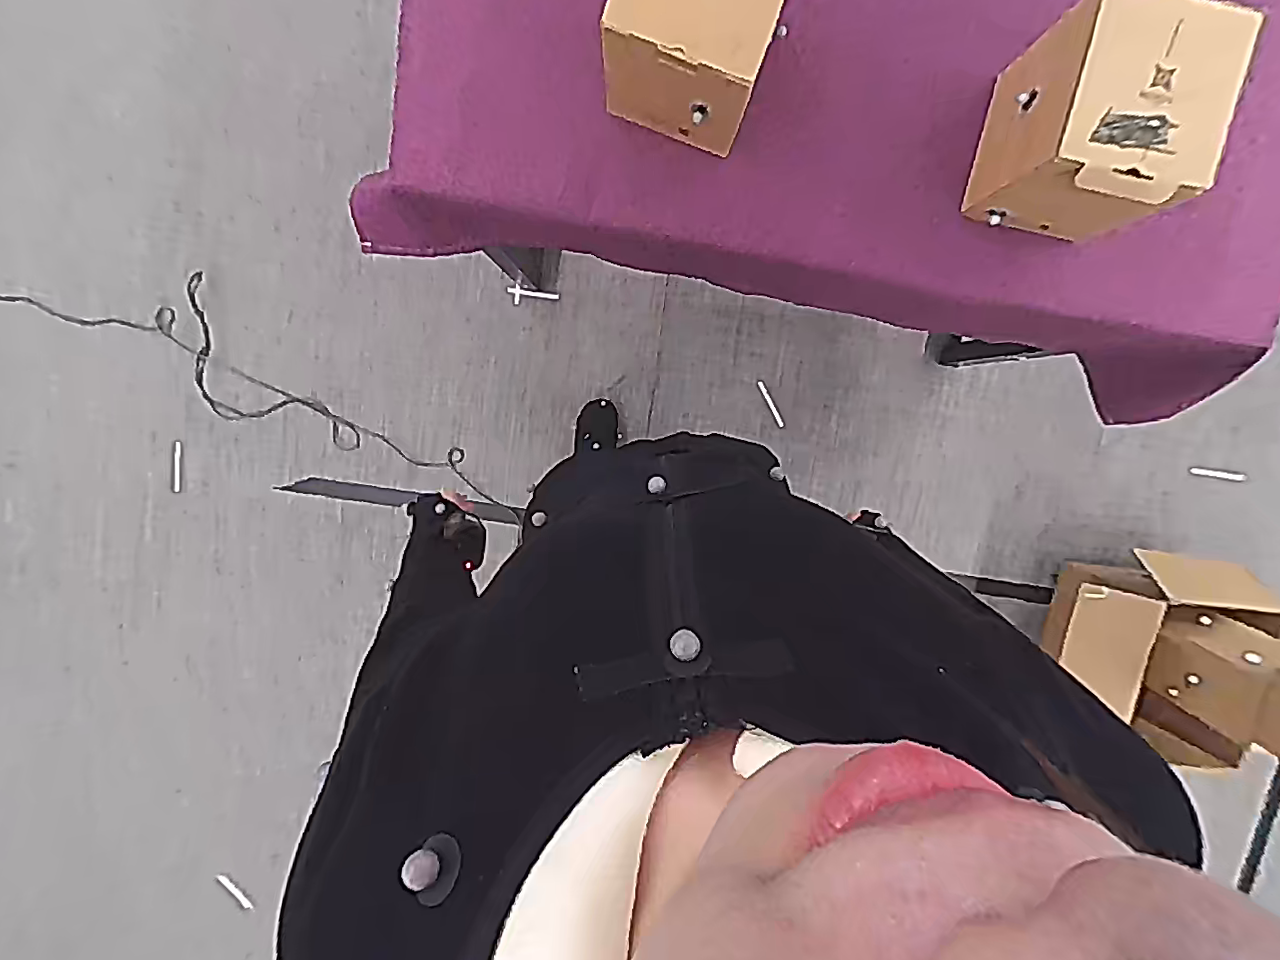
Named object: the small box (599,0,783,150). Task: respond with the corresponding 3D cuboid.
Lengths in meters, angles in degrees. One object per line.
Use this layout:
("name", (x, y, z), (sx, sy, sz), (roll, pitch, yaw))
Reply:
("small box", (0.063, -0.514, 0.606), (0.168, 0.176, 0.179), (20, 97, -4))

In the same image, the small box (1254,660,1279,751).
("small box", (1.294, 0.446, 0.980), (0.168, 0.176, 0.179), (2, 102, 3))

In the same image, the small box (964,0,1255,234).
("small box", (0.515, -0.409, 0.625), (0.168, 0.176, 0.179), (12, 97, -2))

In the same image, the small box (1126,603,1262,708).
("small box", (1.327, 0.413, 1.307), (0.168, 0.176, 0.179), (-13, 101, 5))
